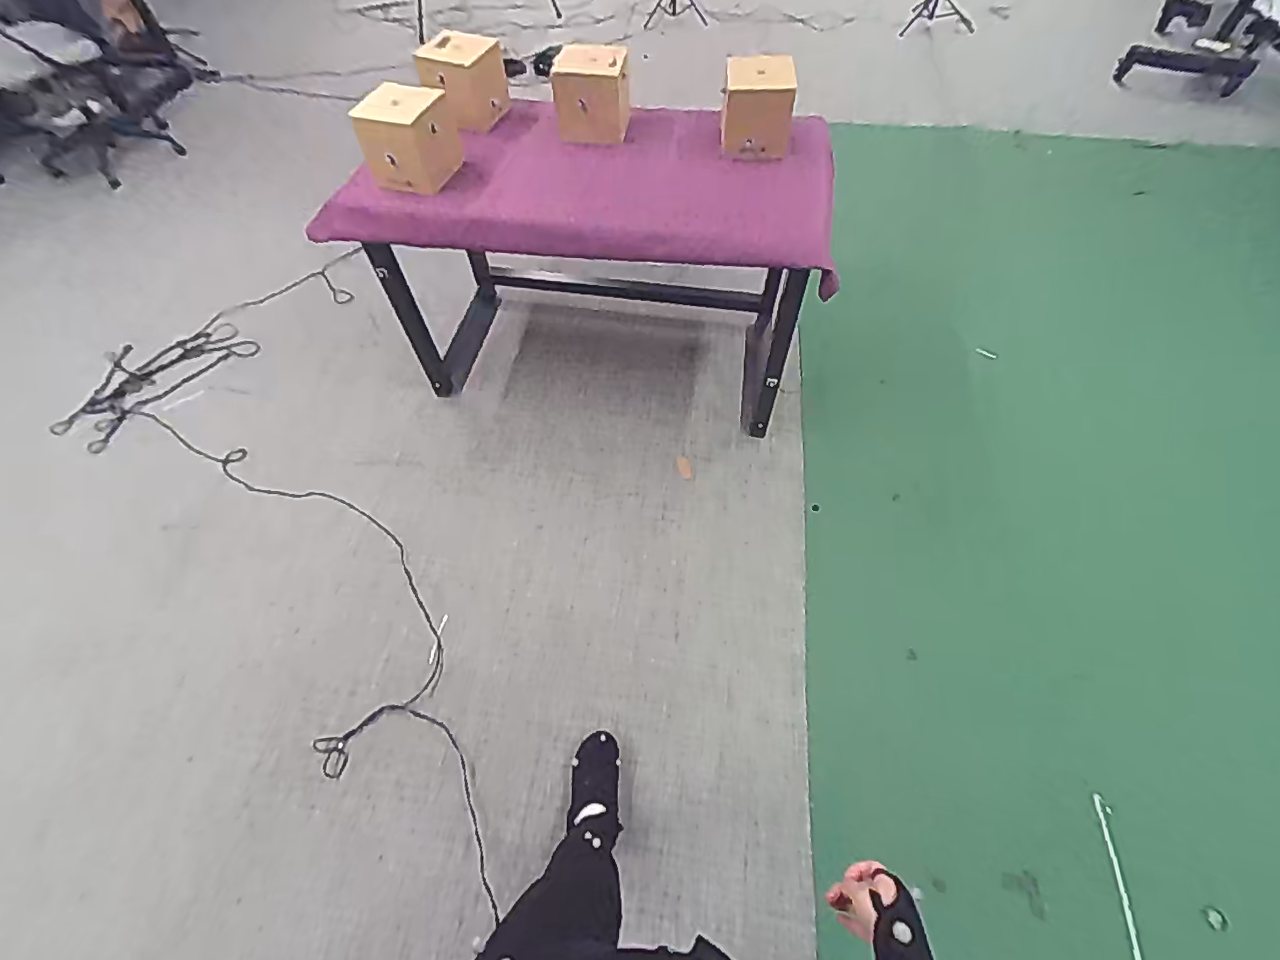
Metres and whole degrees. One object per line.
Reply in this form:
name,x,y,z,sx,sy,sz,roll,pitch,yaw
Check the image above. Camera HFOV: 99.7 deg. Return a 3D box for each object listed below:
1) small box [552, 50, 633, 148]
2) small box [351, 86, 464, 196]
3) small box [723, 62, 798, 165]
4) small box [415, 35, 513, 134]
small box,-0.120,-1.018,1.450,0.179,0.176,0.168,7,59,6
small box,-0.560,-0.833,1.334,0.168,0.176,0.179,15,58,9
small box,0.304,-0.946,1.398,0.168,0.176,0.179,3,59,4
small box,-0.480,-1.094,1.500,0.179,0.176,0.168,19,61,11
